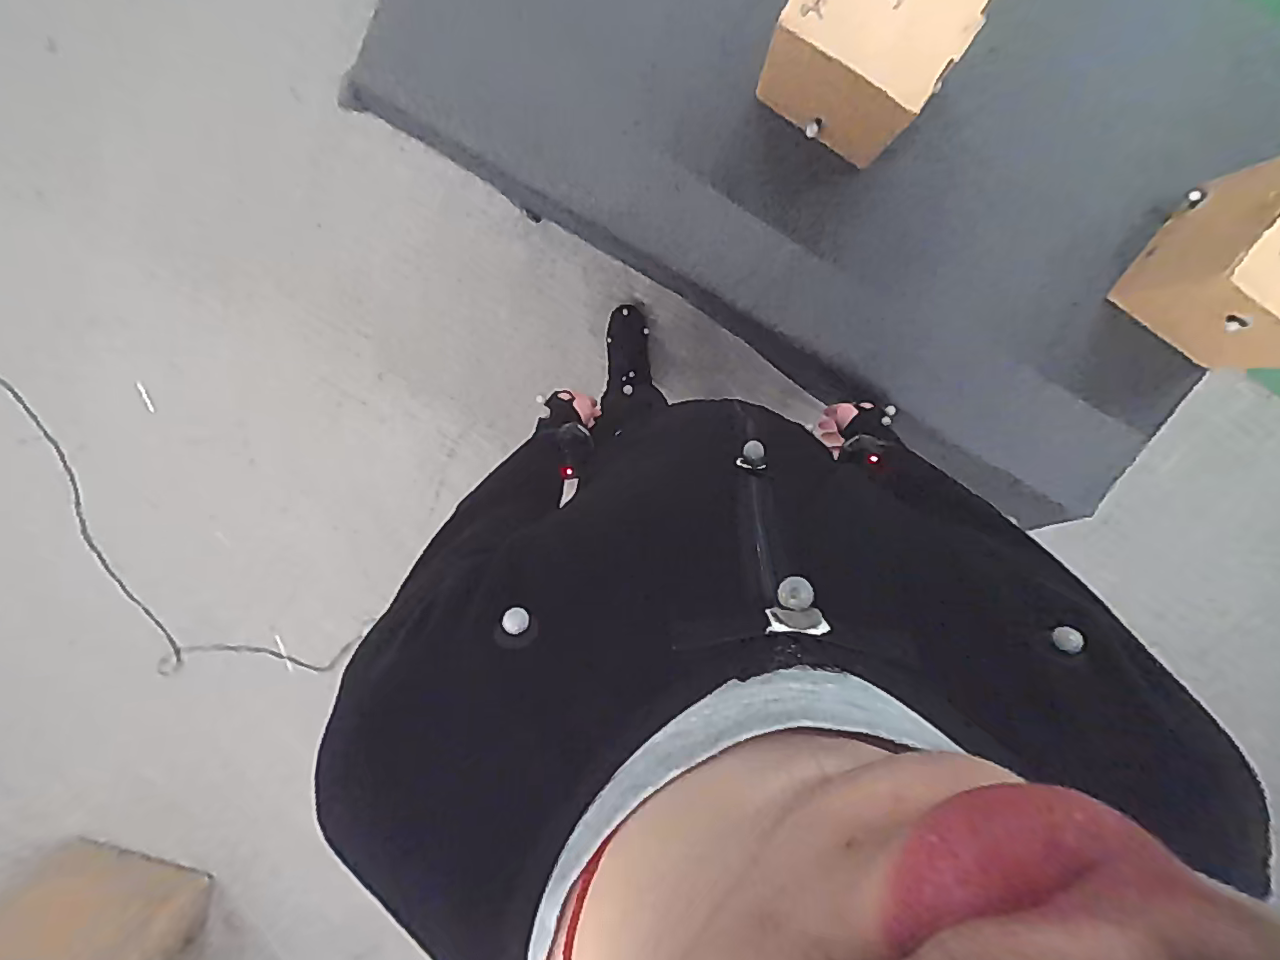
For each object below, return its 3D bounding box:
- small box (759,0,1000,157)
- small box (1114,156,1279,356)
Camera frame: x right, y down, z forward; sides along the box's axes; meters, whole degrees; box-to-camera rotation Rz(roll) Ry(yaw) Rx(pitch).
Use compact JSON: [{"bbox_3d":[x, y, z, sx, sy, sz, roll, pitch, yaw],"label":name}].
[{"bbox_3d":[0.261,-0.500,0.607,0.179,0.176,0.168,30,101,-6],"label":"small box"},{"bbox_3d":[0.741,-0.258,0.645,0.179,0.176,0.168,32,101,-6],"label":"small box"}]
